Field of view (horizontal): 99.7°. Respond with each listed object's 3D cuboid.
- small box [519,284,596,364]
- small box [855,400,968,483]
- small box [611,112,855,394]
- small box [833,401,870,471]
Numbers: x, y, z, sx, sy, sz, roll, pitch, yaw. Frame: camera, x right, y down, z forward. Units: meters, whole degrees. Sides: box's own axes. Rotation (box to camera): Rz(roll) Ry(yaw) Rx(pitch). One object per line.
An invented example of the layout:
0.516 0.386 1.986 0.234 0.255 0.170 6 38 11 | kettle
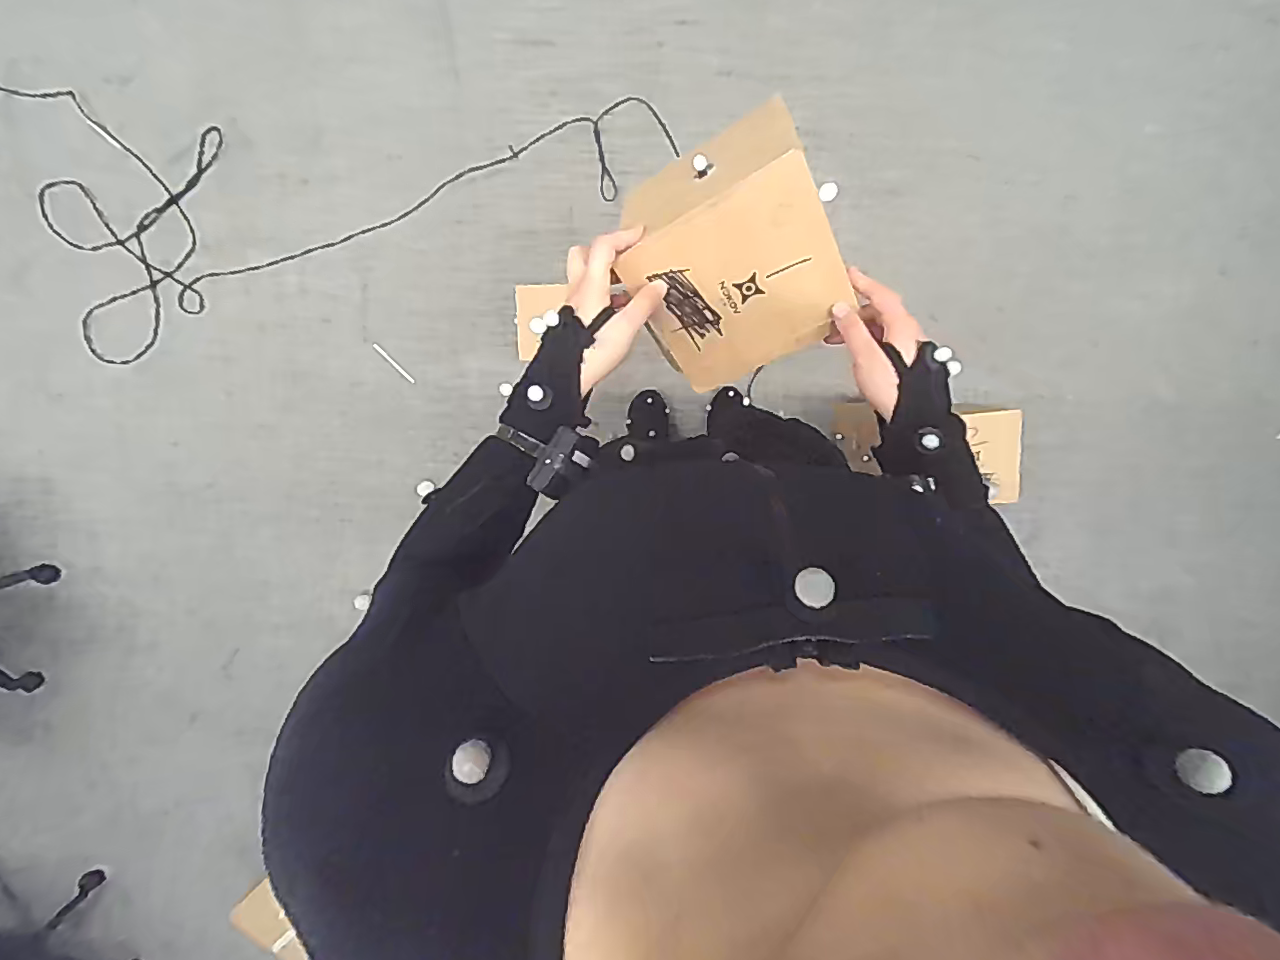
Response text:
-0.200 -0.381 1.345 0.168 0.176 0.179 -1 101 2 | small box
0.605 -0.092 1.227 0.179 0.176 0.168 -3 103 0 | small box
0.093 -0.225 0.548 0.179 0.176 0.168 -21 132 26 | small box
0.608 -0.114 1.388 0.179 0.176 0.168 0 102 1 | small box
